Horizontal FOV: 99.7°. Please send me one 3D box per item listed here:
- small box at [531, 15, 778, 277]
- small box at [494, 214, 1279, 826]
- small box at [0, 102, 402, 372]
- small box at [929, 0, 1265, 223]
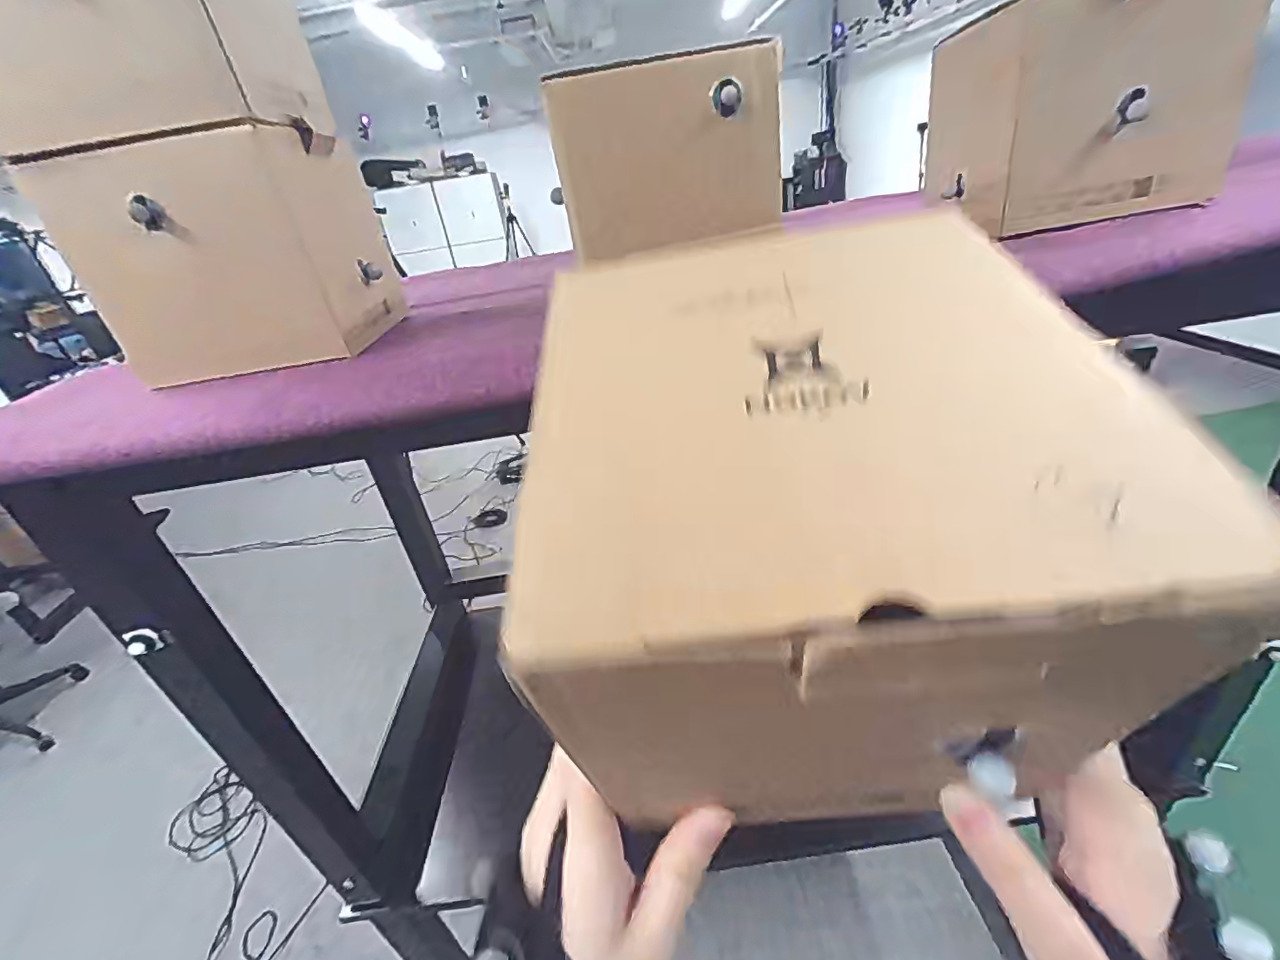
[{"bbox_3d":[0.018,-0.267,0.479,0.179,0.176,0.168,-9,28,1],"label":"small box"},{"bbox_3d":[0.060,0.025,0.217,0.168,0.176,0.179,-7,46,5],"label":"small box"},{"bbox_3d":[-0.339,-0.202,0.466,0.179,0.176,0.168,-9,31,0],"label":"small box"},{"bbox_3d":[0.374,-0.331,0.472,0.168,0.176,0.179,-7,28,8],"label":"small box"}]
